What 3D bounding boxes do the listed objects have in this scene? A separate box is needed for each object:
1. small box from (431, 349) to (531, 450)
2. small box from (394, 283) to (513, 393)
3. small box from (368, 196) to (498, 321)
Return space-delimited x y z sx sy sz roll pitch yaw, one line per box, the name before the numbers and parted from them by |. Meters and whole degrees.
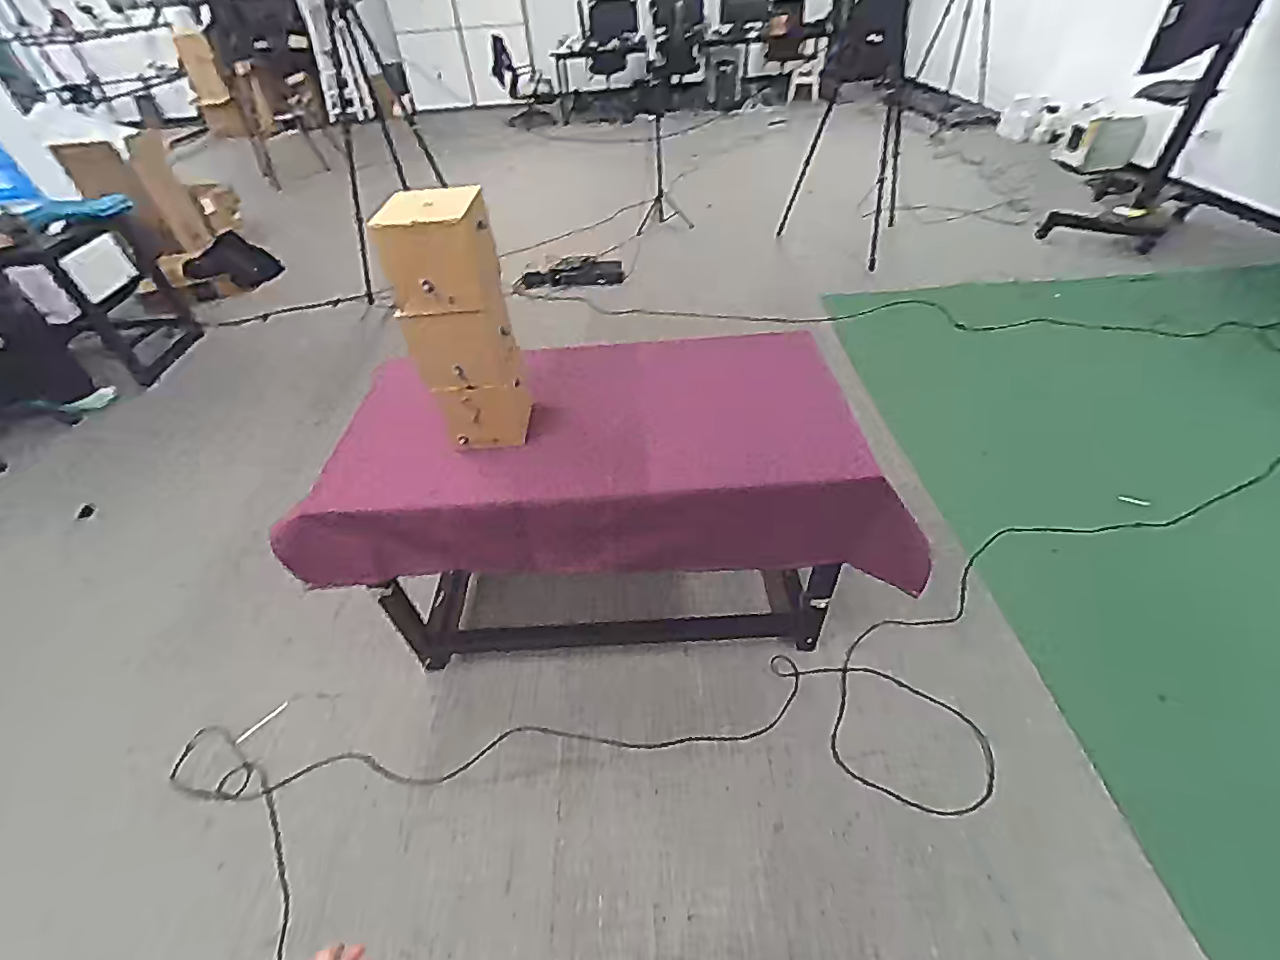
small box | -0.355 -0.180 1.246 0.168 0.176 0.179 -3 43 1
small box | -0.376 -0.297 1.132 0.179 0.176 0.168 -2 43 2
small box | -0.377 -0.419 1.024 0.168 0.176 0.179 -4 44 1
